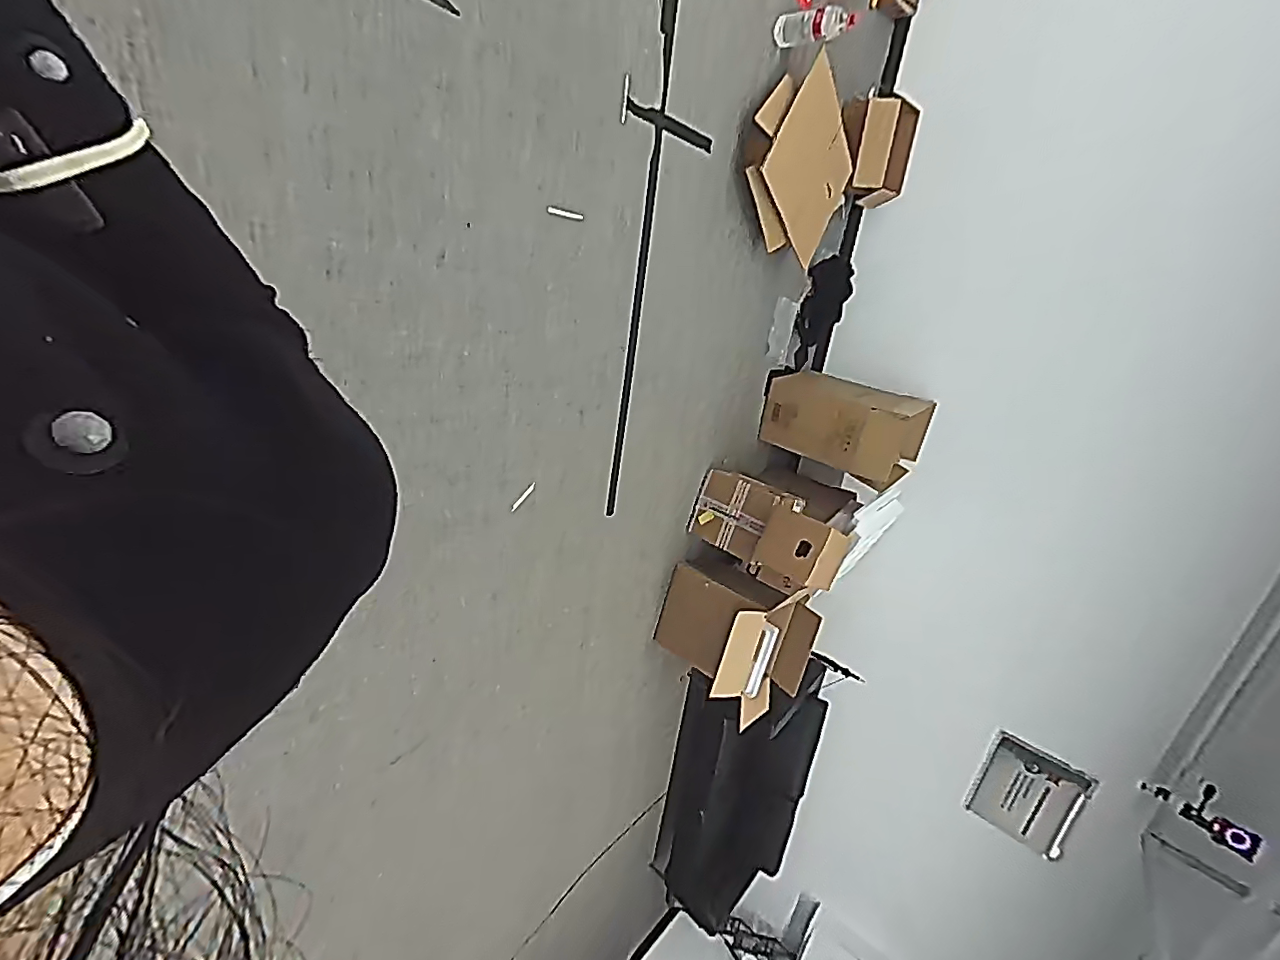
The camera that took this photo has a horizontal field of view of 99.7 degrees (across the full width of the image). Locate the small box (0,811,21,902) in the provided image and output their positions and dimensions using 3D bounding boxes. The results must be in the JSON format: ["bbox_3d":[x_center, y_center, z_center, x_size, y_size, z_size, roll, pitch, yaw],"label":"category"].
[{"bbox_3d":[-1.116,0.605,0.836,0.179,0.176,0.168,-17,121,-46],"label":"small box"}]

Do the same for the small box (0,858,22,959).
[{"bbox_3d":[-0.990,0.648,0.743,0.168,0.176,0.179,-16,120,-48],"label":"small box"}]
